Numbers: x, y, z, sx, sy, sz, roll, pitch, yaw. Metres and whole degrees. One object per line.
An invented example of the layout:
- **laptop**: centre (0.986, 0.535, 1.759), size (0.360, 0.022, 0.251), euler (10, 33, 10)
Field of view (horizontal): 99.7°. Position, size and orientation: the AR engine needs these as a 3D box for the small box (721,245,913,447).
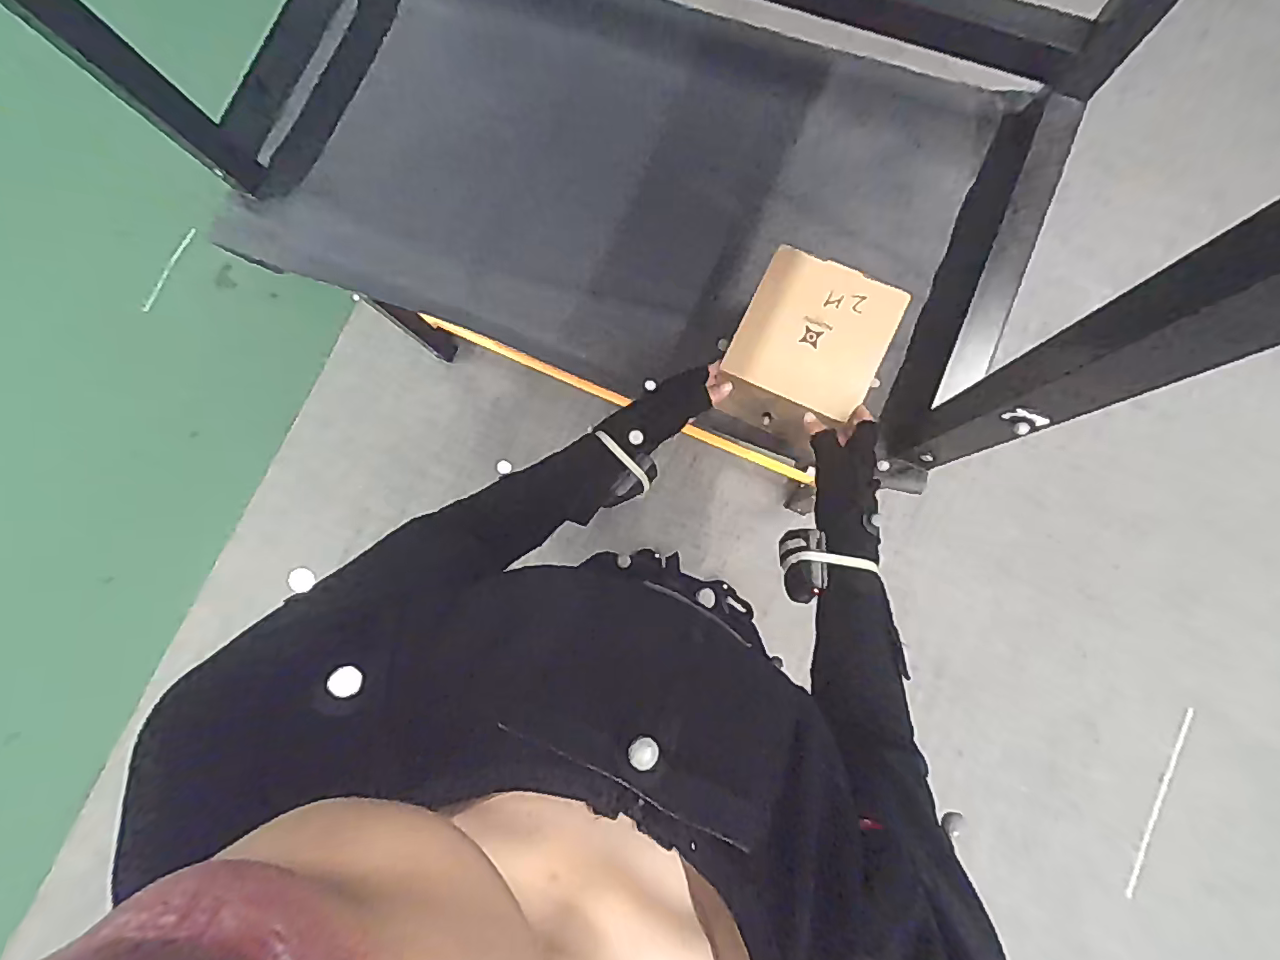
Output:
- **small box**: centre (0.214, -0.160, 0.706), size (0.168, 0.176, 0.179), euler (26, 85, 8)
